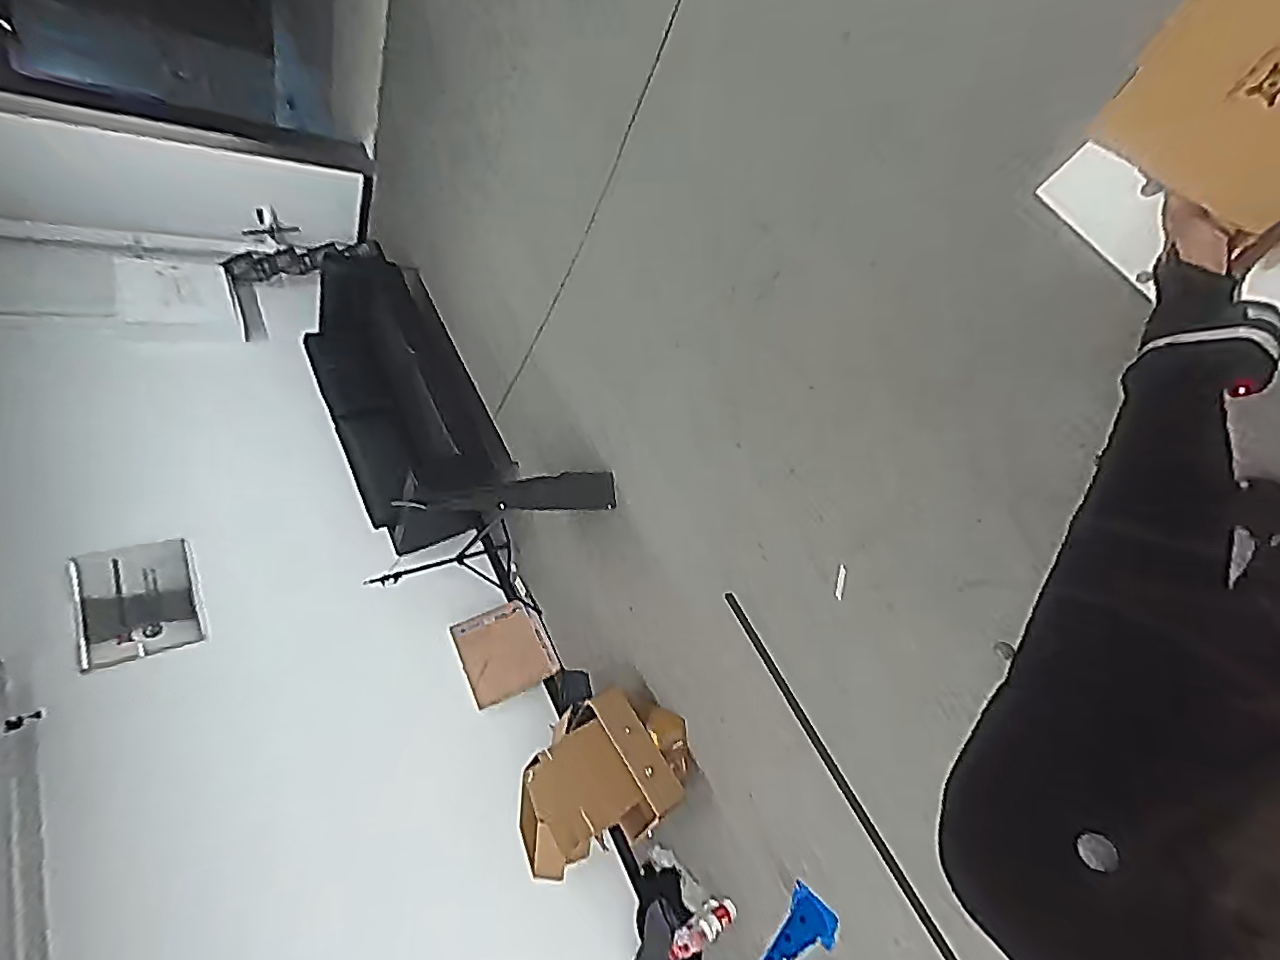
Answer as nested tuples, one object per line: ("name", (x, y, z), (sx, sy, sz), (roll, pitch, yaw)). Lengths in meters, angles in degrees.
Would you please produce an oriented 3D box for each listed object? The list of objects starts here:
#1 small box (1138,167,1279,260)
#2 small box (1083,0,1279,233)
("small box", (0.722, -0.368, 0.597), (0.168, 0.176, 0.179), (59, 137, 22))
("small box", (0.561, -0.348, 0.475), (0.179, 0.176, 0.168), (53, 144, 21))
